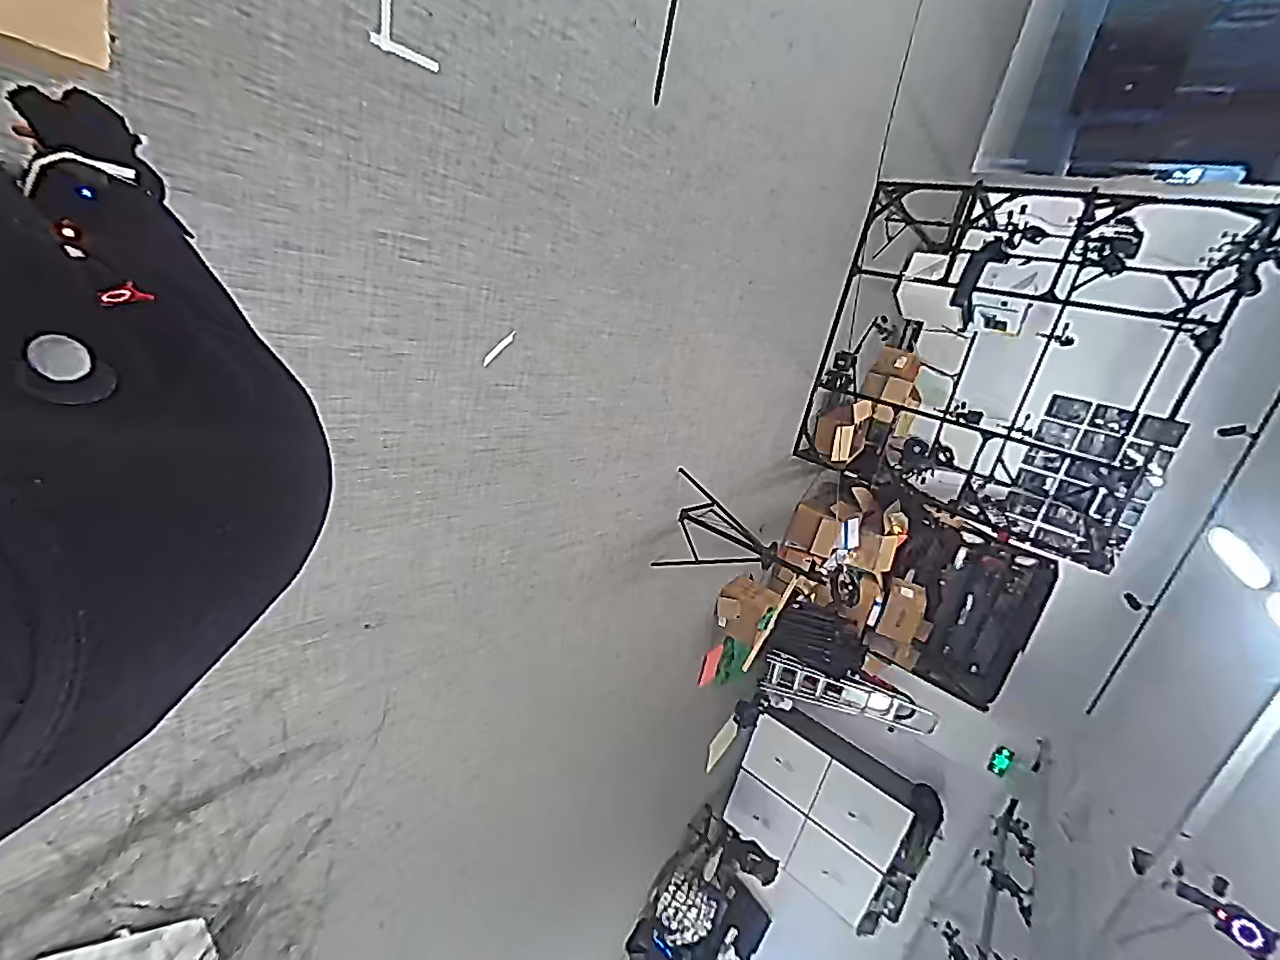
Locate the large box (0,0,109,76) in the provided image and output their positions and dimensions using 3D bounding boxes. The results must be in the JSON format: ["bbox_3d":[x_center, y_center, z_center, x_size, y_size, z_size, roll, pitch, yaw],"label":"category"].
[{"bbox_3d":[-0.973,-0.765,0.661,0.408,0.320,0.320,-10,120,-53],"label":"large box"}]
